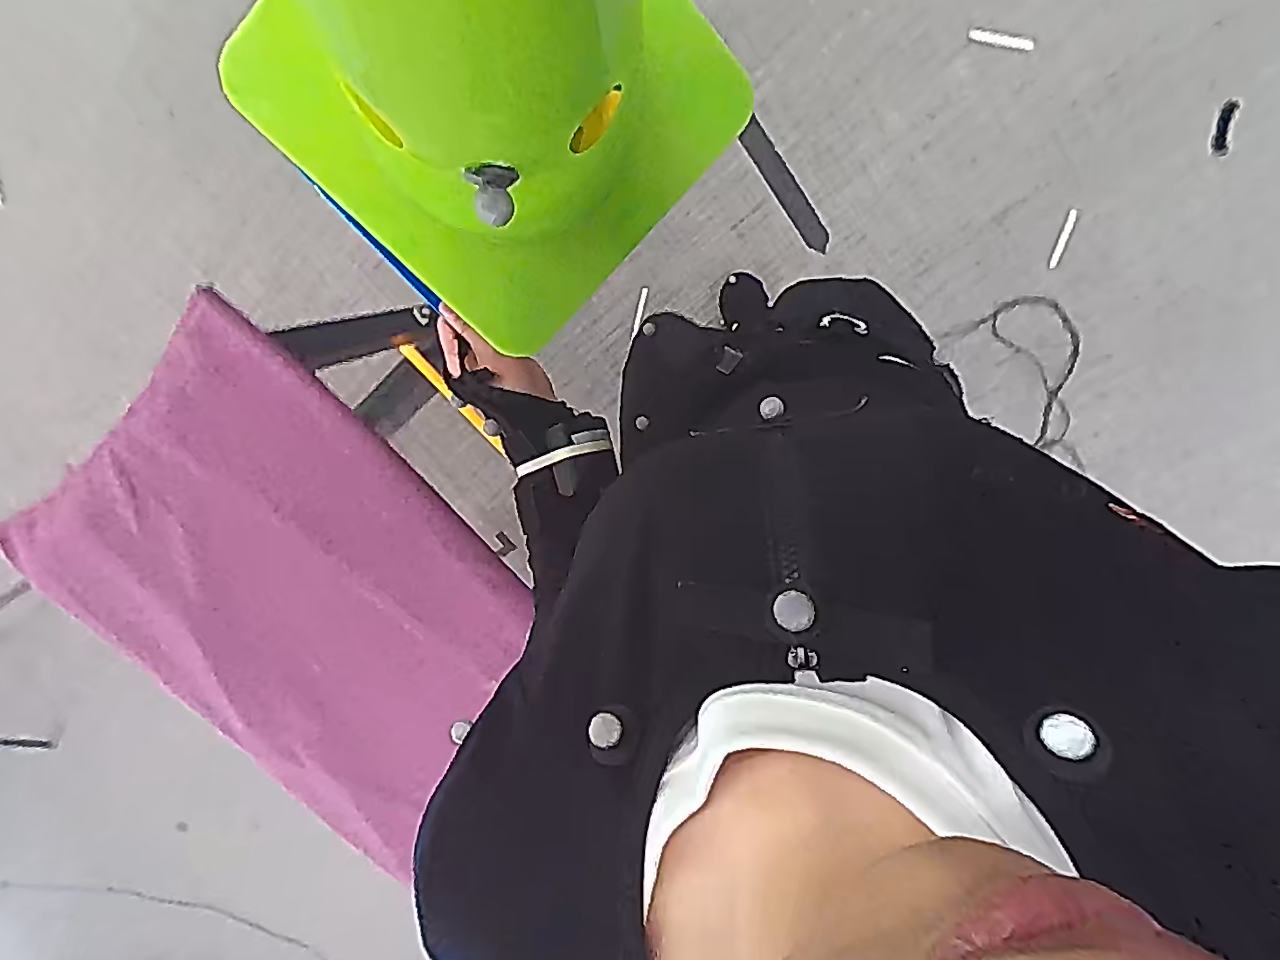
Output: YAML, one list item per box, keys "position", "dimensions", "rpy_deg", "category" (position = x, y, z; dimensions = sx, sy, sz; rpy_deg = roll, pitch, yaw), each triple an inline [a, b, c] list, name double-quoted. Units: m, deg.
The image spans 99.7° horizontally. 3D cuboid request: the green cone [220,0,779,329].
- position: [-0.033, -0.160, 0.096]
  dimensions: [0.202, 0.368, 0.200]
  rpy_deg: [43, 96, -17]
  category: "green cone"
